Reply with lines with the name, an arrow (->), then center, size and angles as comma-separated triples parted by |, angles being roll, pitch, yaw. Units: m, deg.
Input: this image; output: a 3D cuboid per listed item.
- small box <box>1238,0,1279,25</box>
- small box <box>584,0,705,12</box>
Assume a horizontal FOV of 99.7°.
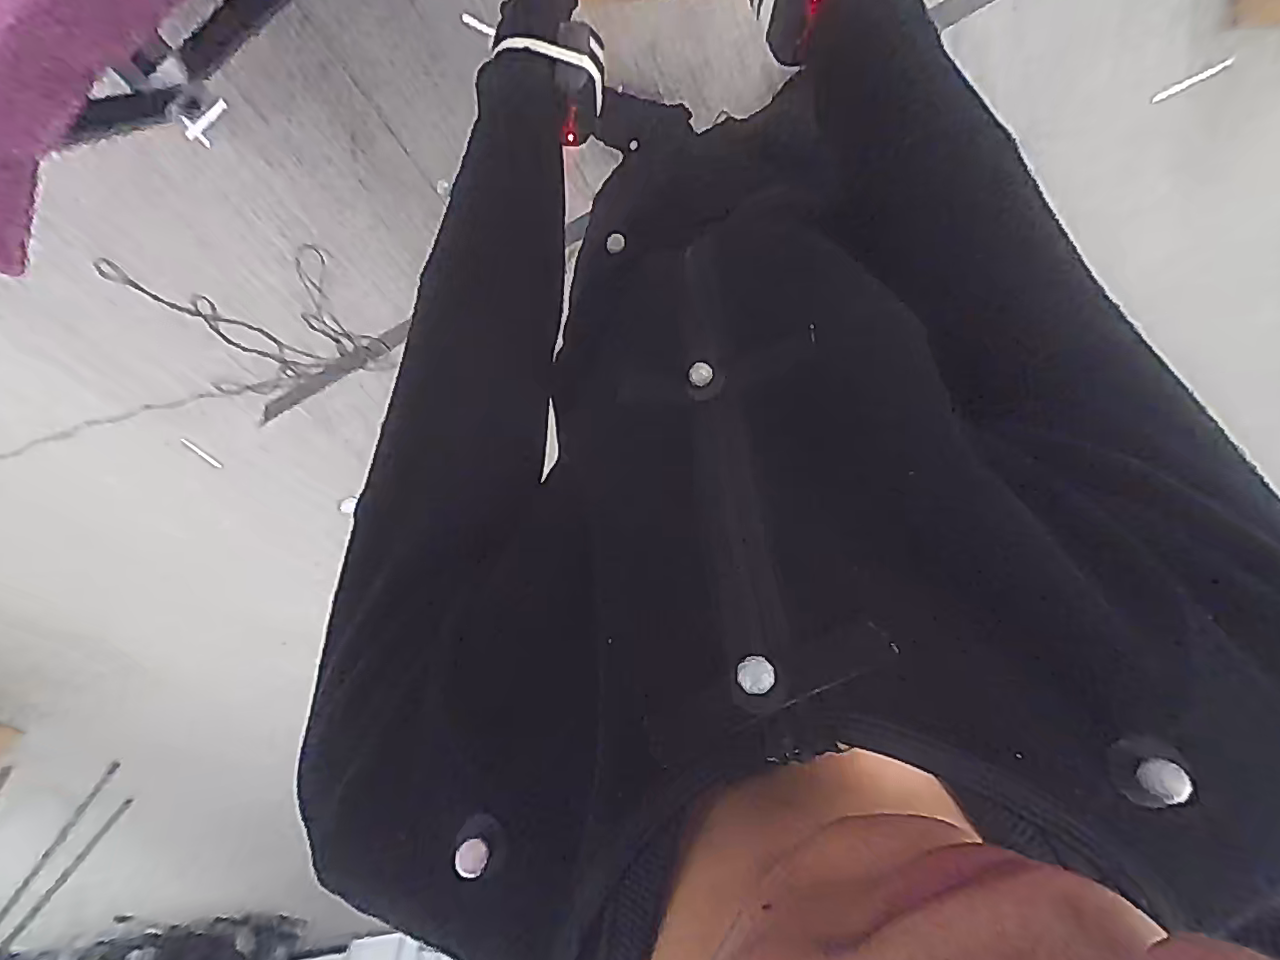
small box -> 1.289, -0.997, 1.011 | 0.168, 0.176, 0.179 | -25, 127, 20
small box -> 0.005, -0.580, 0.498 | 0.168, 0.176, 0.179 | -5, 114, 2
